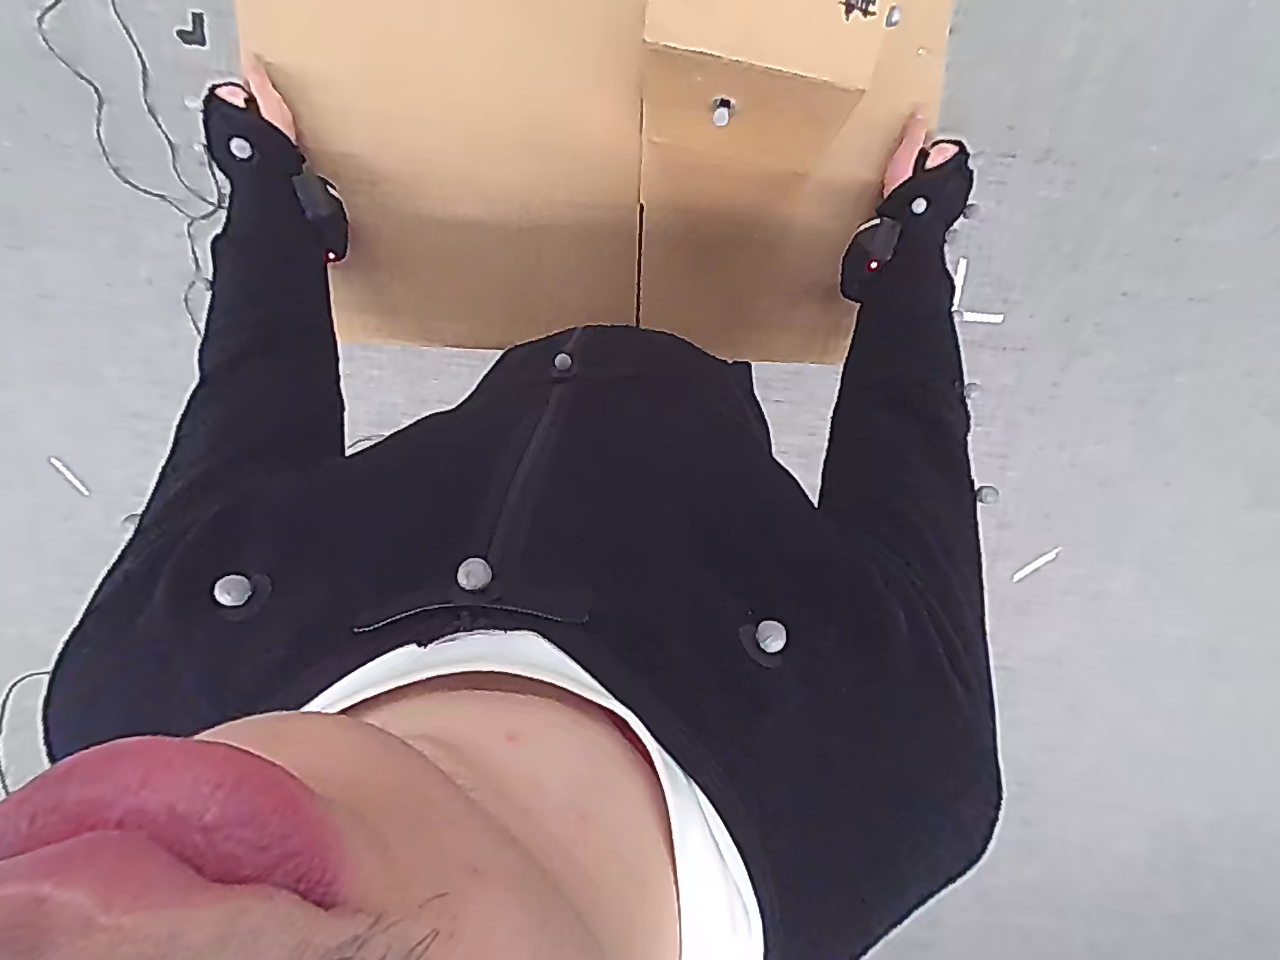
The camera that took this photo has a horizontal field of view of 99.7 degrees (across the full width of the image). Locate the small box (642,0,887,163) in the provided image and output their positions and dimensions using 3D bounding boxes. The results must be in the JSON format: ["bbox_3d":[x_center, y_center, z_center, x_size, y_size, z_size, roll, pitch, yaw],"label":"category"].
[{"bbox_3d":[0.108,-0.406,0.472,0.179,0.176,0.168,12,101,1],"label":"small box"}]
